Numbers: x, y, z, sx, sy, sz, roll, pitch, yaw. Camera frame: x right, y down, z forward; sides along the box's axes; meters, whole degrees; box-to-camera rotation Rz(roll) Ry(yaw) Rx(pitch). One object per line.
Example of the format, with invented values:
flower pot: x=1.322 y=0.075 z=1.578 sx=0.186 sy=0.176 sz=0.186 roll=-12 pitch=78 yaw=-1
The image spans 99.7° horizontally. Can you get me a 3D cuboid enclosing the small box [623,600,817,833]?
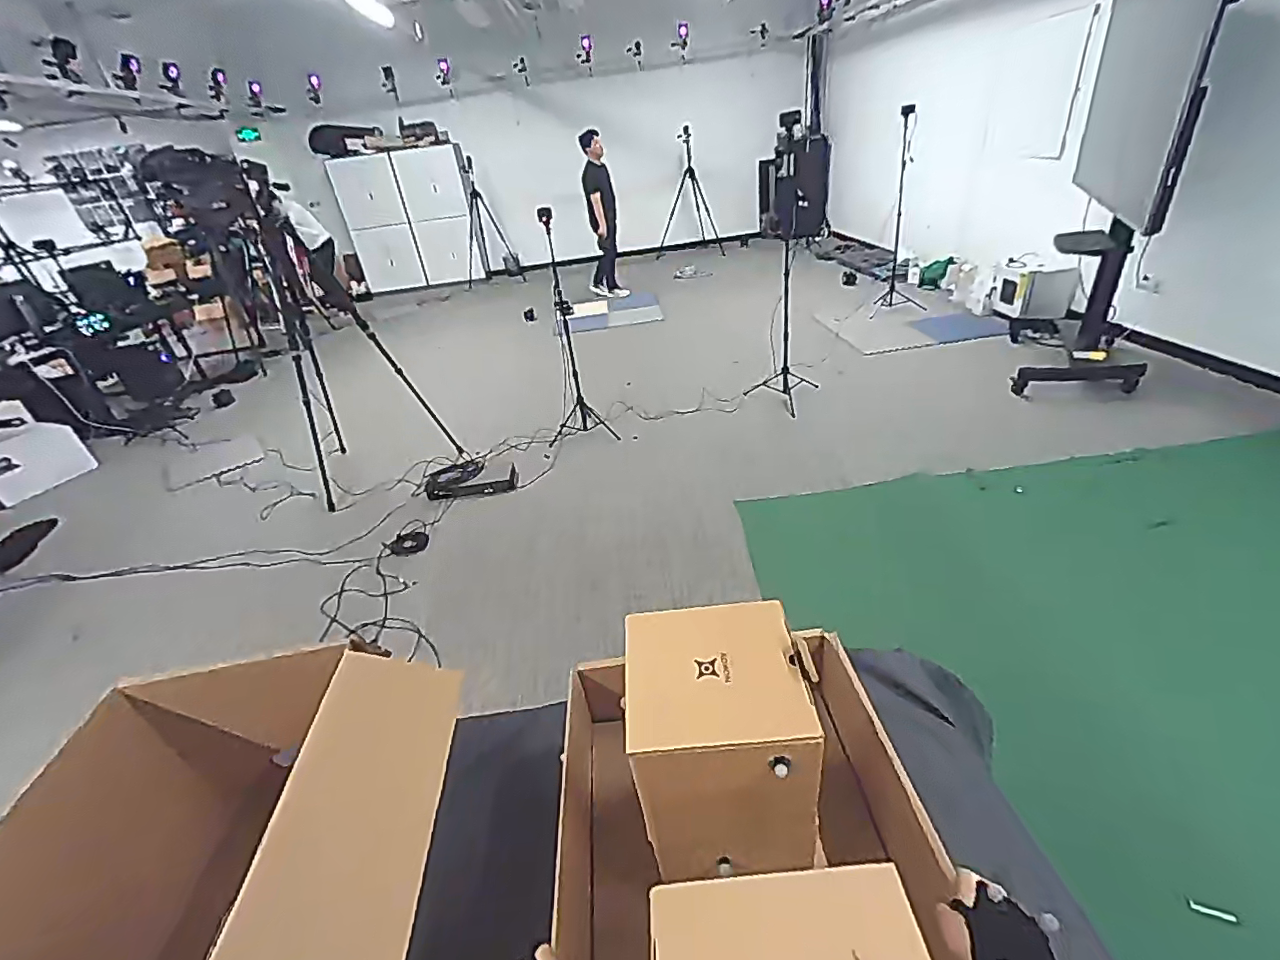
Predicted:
small box: x=0.080 y=0.255 z=0.585 sx=0.179 sy=0.176 sz=0.168 roll=-6 pitch=33 yaw=2
